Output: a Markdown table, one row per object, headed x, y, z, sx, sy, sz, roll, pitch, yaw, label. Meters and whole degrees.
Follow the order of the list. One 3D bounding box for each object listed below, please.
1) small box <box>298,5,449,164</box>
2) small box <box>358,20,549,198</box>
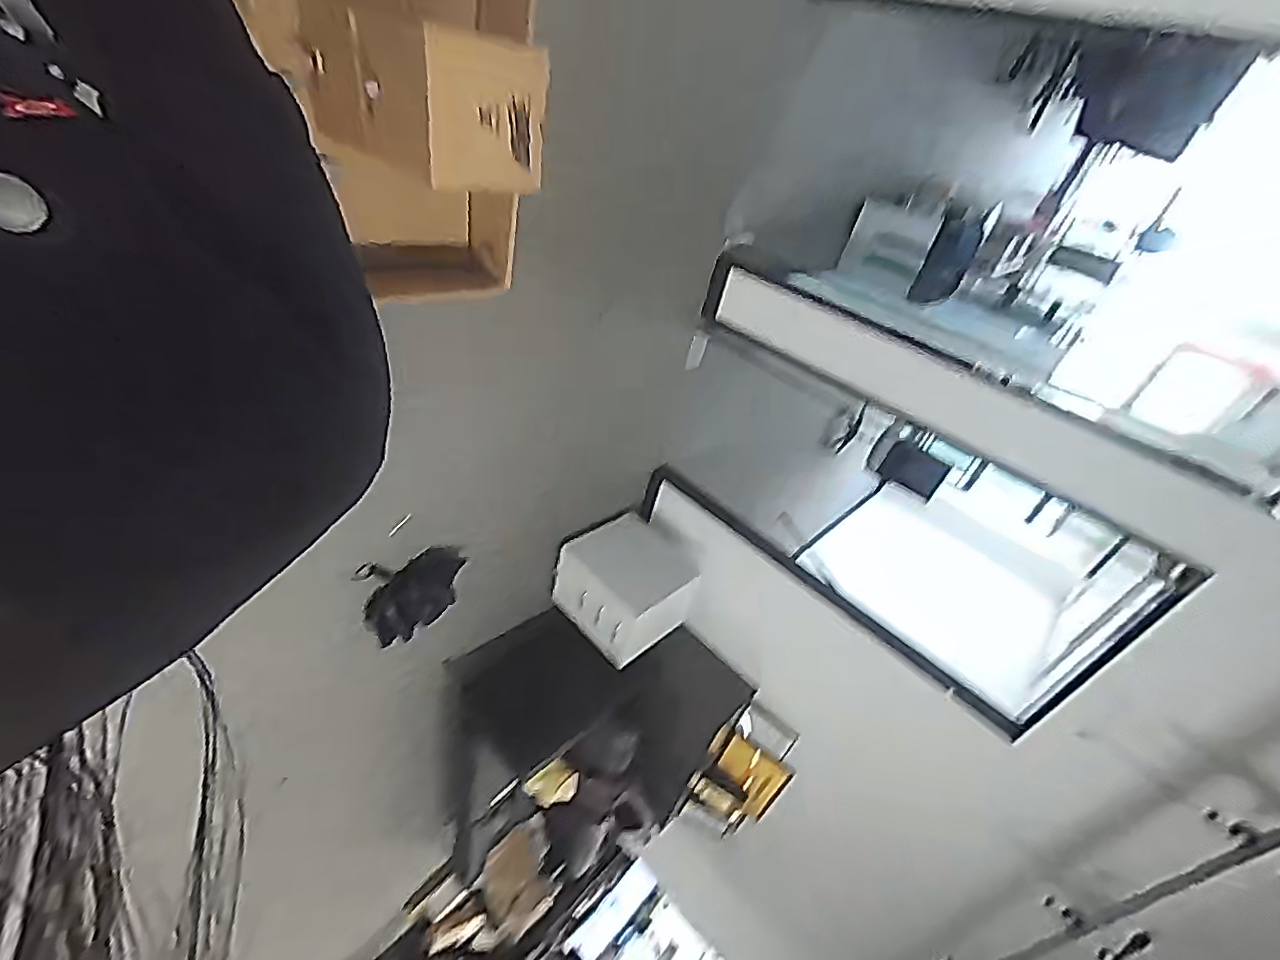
| x | y | z | sx | sy | sz | roll | pitch | yaw | label |
| --- | --- | --- | --- | --- | --- | --- | --- | --- | --- |
| -0.367 | -0.578 | 0.803 | 0.179 | 0.176 | 0.168 | -27 | 141 | -40 | small box |
| -0.248 | -0.493 | 0.728 | 0.179 | 0.176 | 0.168 | -25 | 140 | -41 | small box |
